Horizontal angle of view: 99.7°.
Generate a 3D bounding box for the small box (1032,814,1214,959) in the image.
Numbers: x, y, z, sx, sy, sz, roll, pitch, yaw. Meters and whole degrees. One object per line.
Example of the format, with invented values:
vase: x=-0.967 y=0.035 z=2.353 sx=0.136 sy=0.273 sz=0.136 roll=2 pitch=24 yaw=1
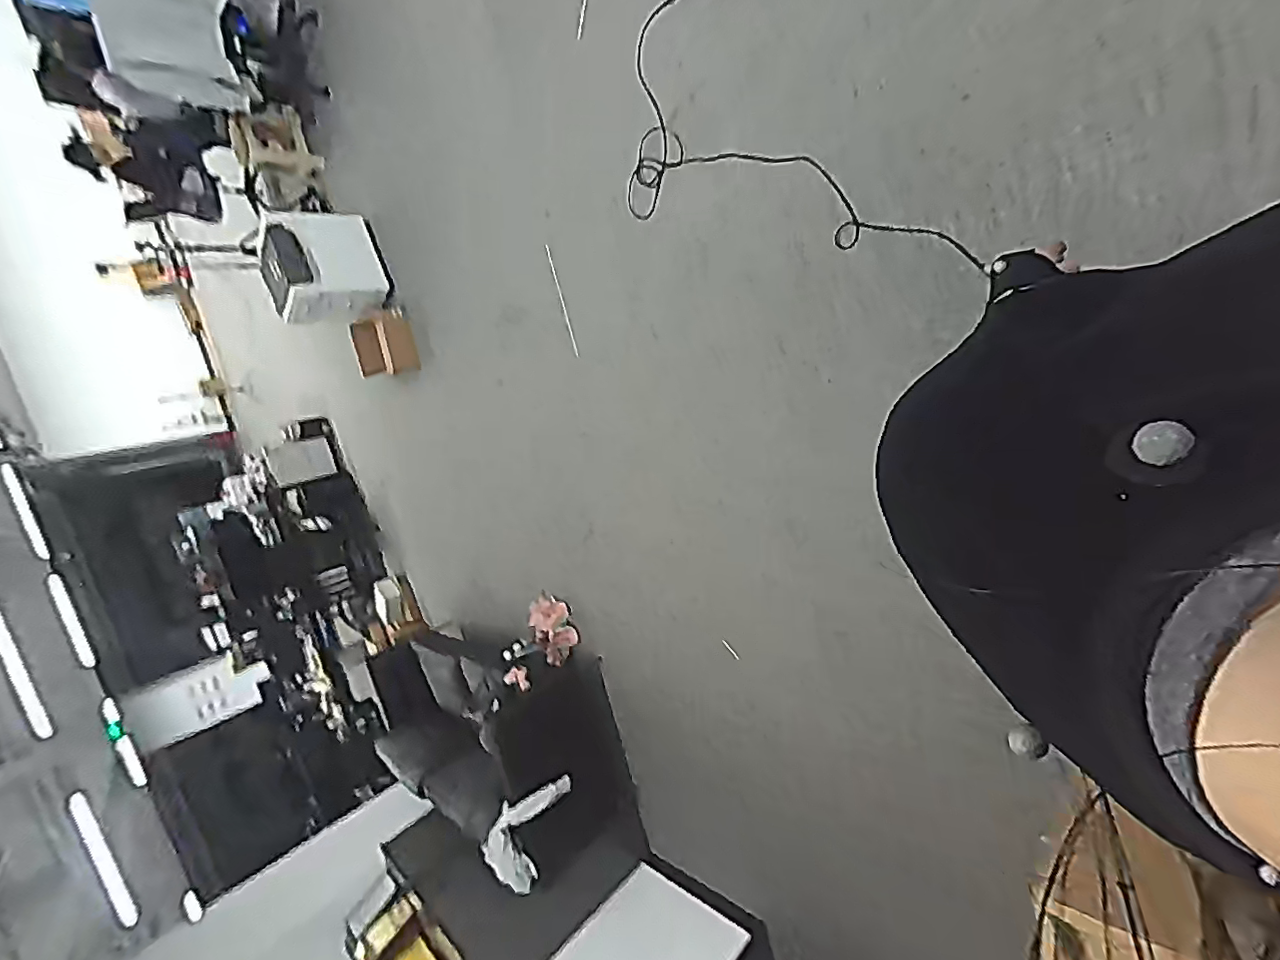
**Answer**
small box: x=0.699 y=0.630 z=0.783 sx=0.179 sy=0.176 sz=0.168 roll=-4 pitch=103 yaw=47
